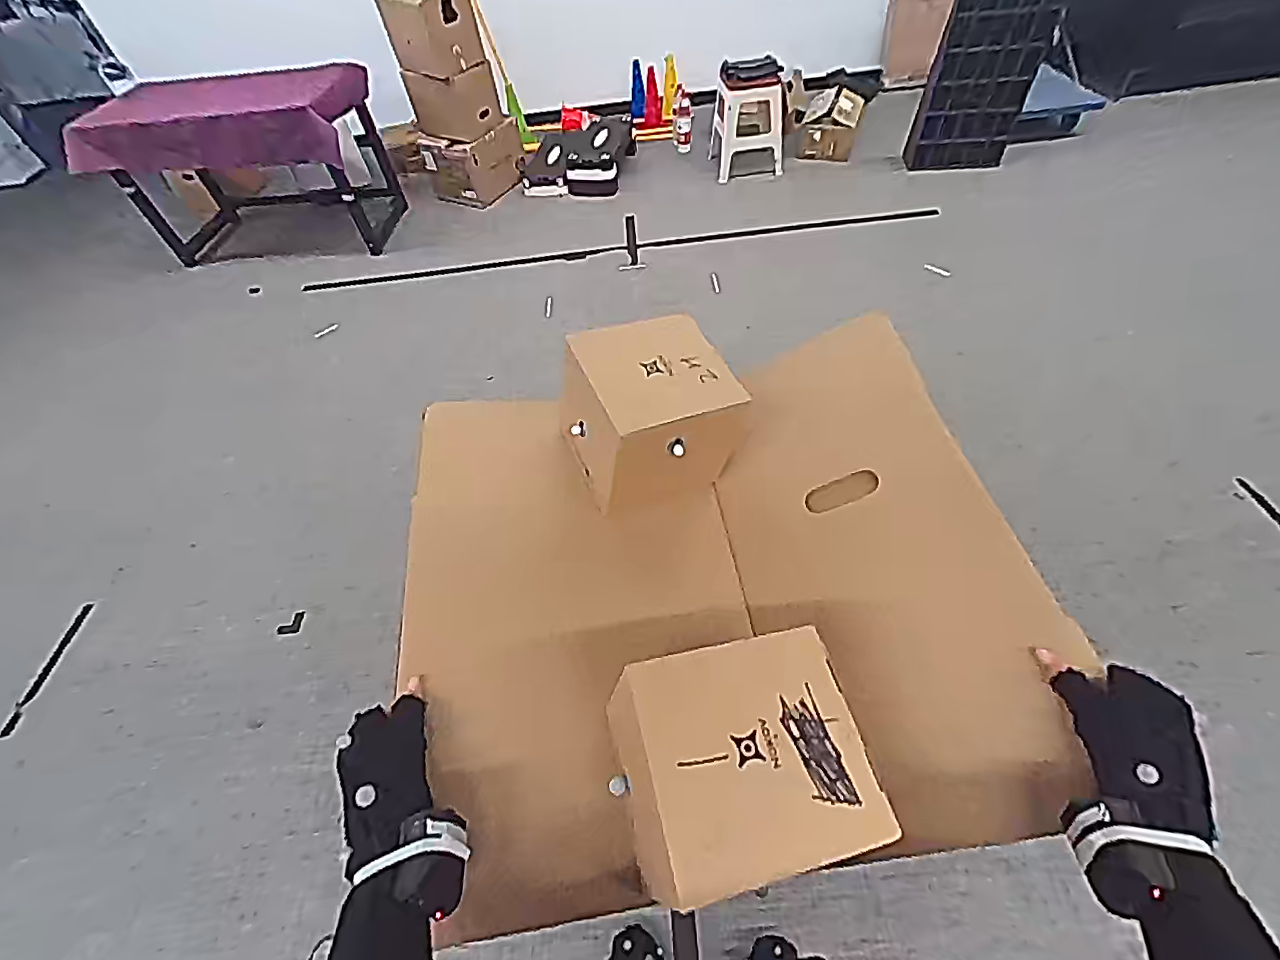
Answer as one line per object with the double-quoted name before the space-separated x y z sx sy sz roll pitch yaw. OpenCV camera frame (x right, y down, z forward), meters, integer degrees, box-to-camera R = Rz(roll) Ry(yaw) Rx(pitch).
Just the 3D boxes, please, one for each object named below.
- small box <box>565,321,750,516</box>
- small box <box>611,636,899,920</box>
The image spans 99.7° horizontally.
"small box" 0.009 -0.076 0.702 0.179 0.176 0.168 -16 60 -21
"small box" 0.080 0.257 0.483 0.179 0.176 0.168 -7 58 -14
